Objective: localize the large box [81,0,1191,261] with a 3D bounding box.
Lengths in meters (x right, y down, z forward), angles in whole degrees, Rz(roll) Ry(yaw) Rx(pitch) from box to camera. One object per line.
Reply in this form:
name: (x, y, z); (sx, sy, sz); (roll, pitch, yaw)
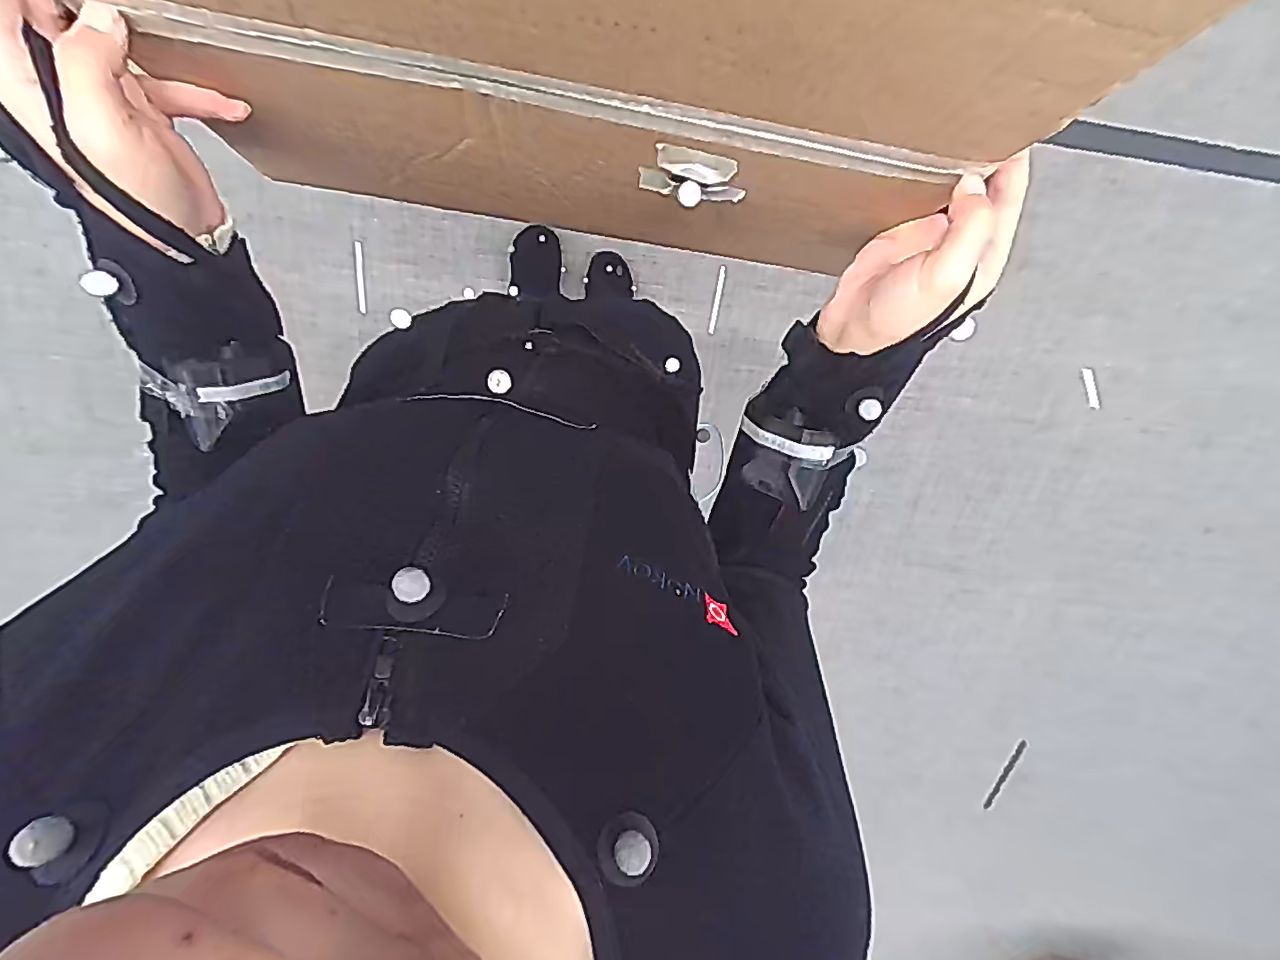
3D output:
large box: (-0.018, -0.326, 0.232); (0.408, 0.320, 0.320); (6, 94, -6)
